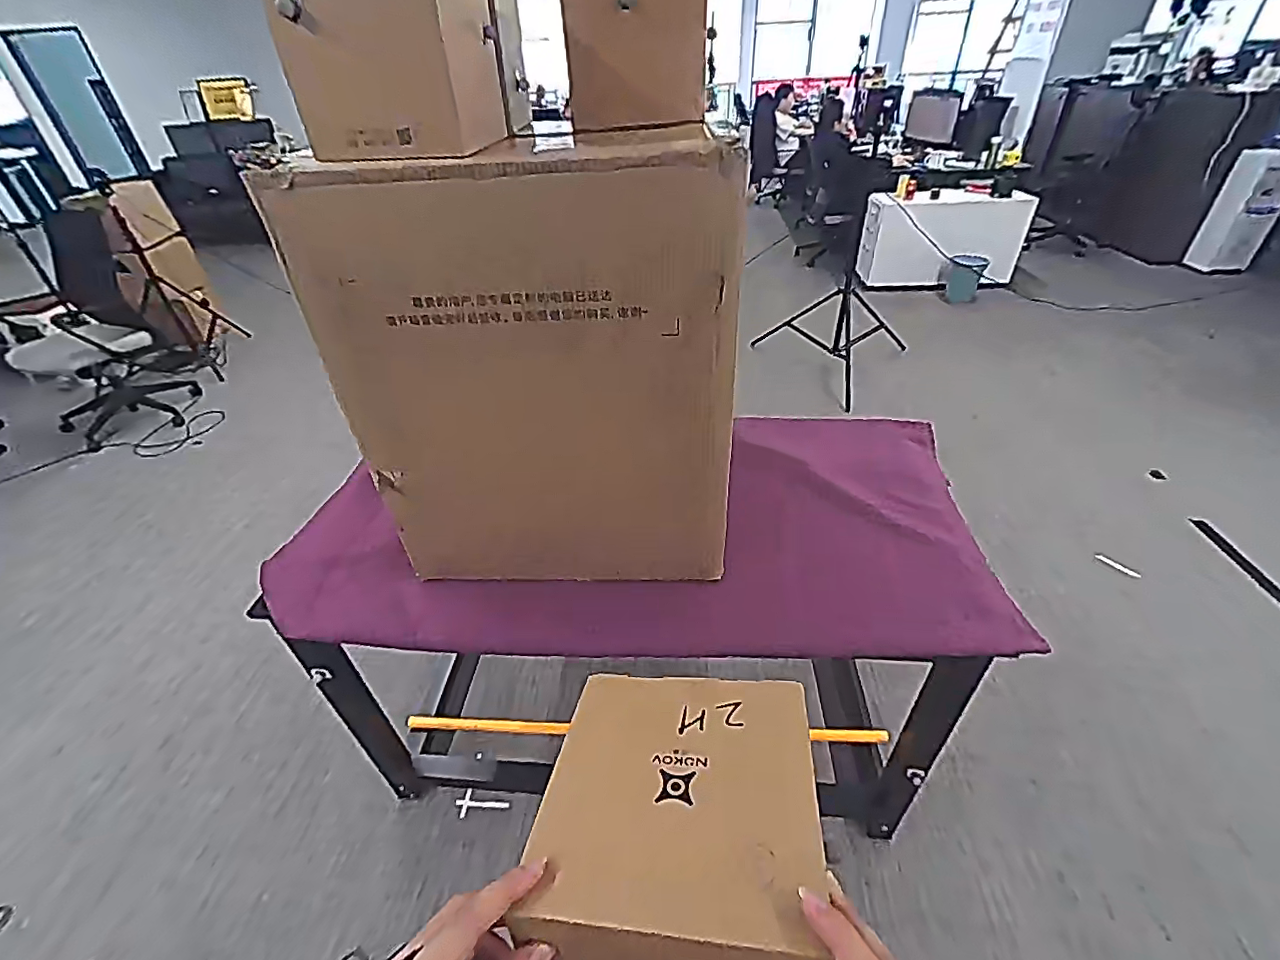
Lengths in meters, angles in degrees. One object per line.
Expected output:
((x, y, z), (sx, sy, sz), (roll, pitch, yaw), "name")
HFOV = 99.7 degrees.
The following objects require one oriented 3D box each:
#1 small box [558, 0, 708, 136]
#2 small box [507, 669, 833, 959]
((-0.002, -0.567, 0.714), (0.179, 0.176, 0.168), (-2, 37, 4), "small box")
((0.035, 0.254, 0.363), (0.168, 0.176, 0.179), (-2, 21, 12), "small box")
